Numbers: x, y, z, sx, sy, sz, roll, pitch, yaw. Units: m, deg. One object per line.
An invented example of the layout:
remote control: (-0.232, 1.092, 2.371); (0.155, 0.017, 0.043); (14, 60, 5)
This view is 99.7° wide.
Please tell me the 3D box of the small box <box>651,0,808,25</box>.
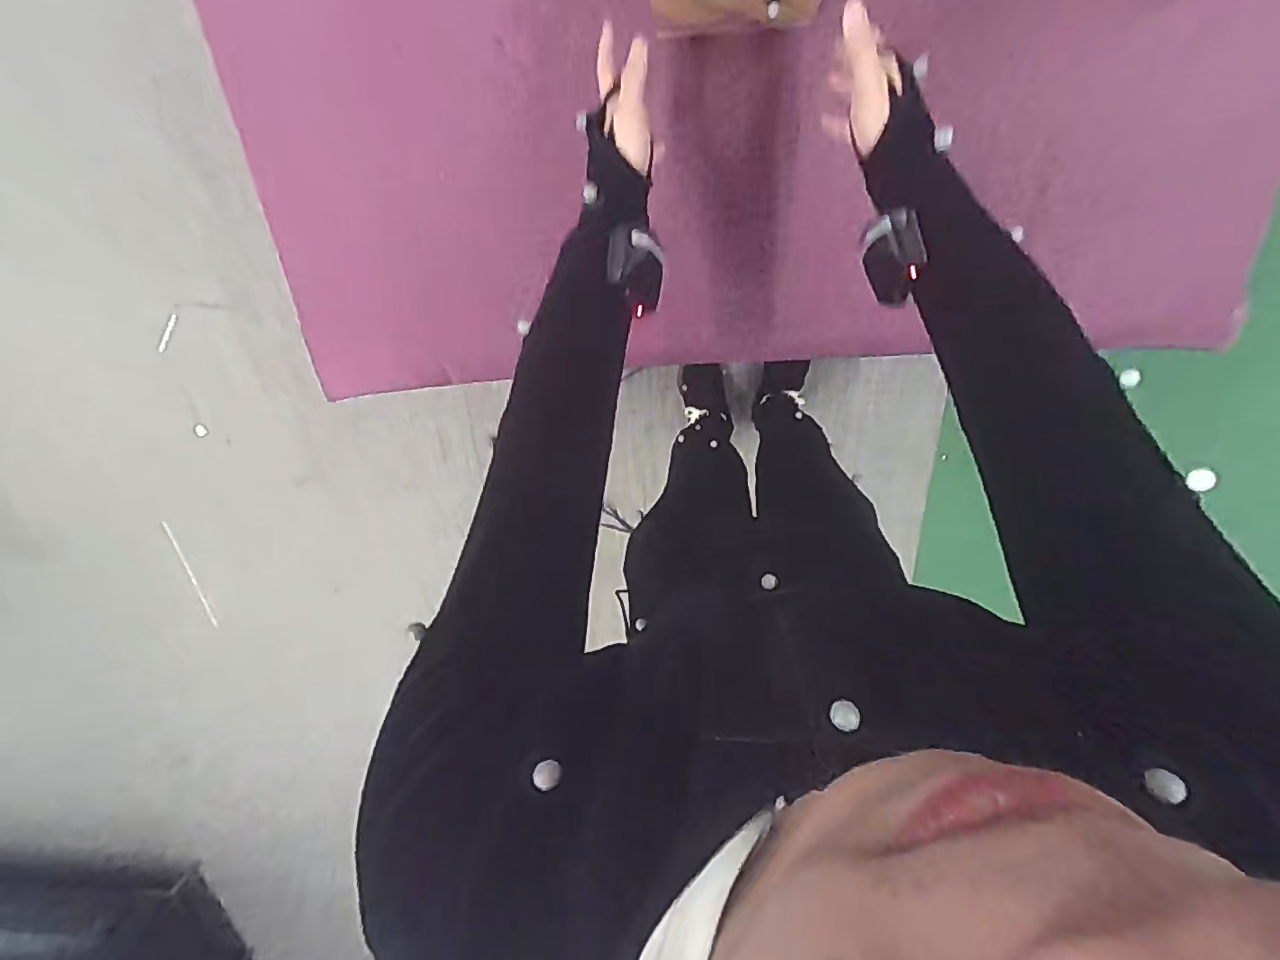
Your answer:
small box: (0.085, -0.539, 0.481); (0.168, 0.176, 0.179); (0, 114, 6)
